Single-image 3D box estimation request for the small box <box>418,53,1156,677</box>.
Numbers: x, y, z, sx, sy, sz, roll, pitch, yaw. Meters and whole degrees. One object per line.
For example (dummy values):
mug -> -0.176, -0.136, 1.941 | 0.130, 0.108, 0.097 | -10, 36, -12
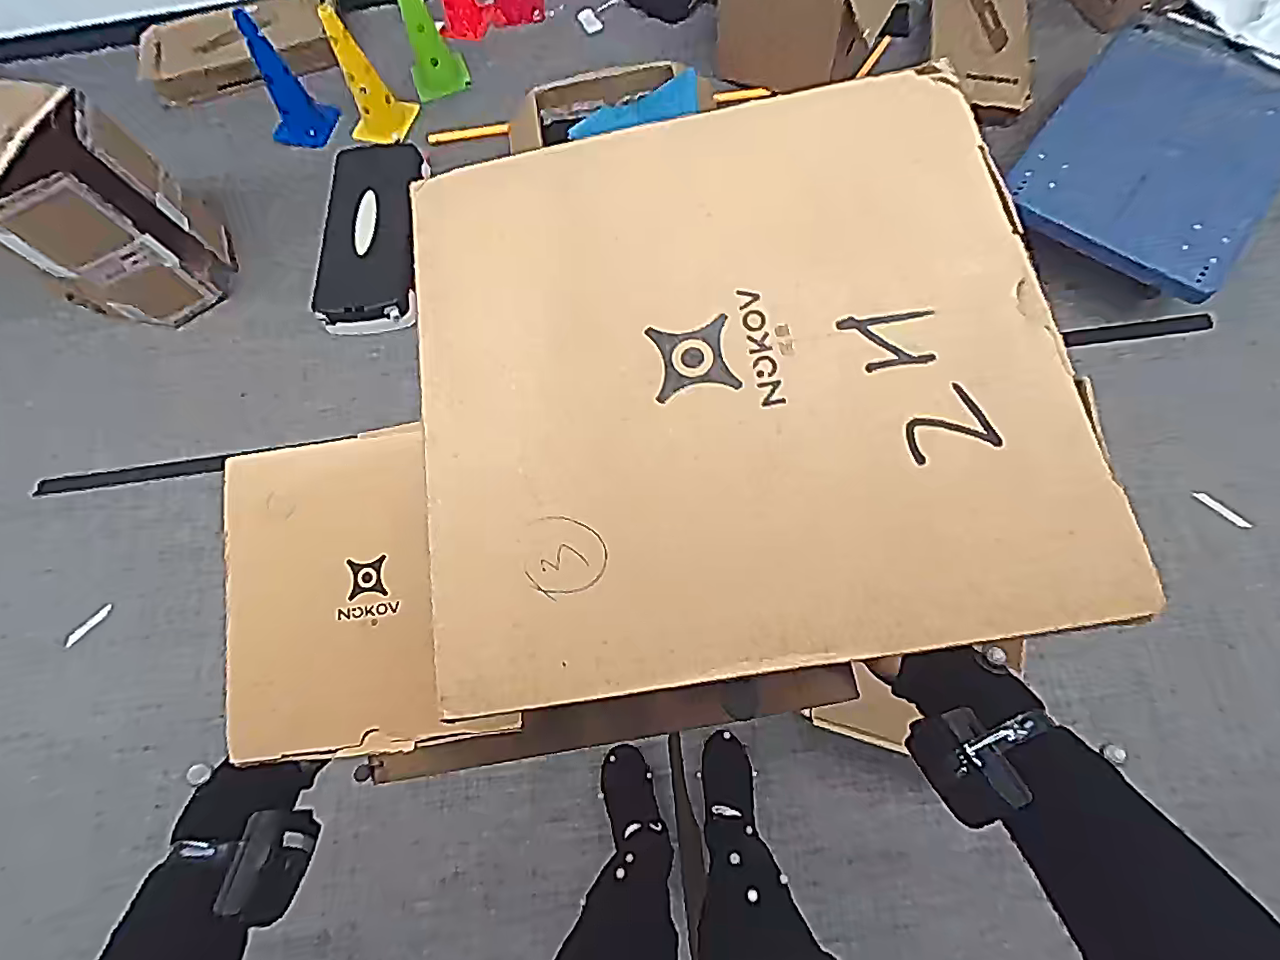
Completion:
small box -> 0.032, -0.019, 0.227 | 0.179, 0.176, 0.168 | -10, 75, 3
